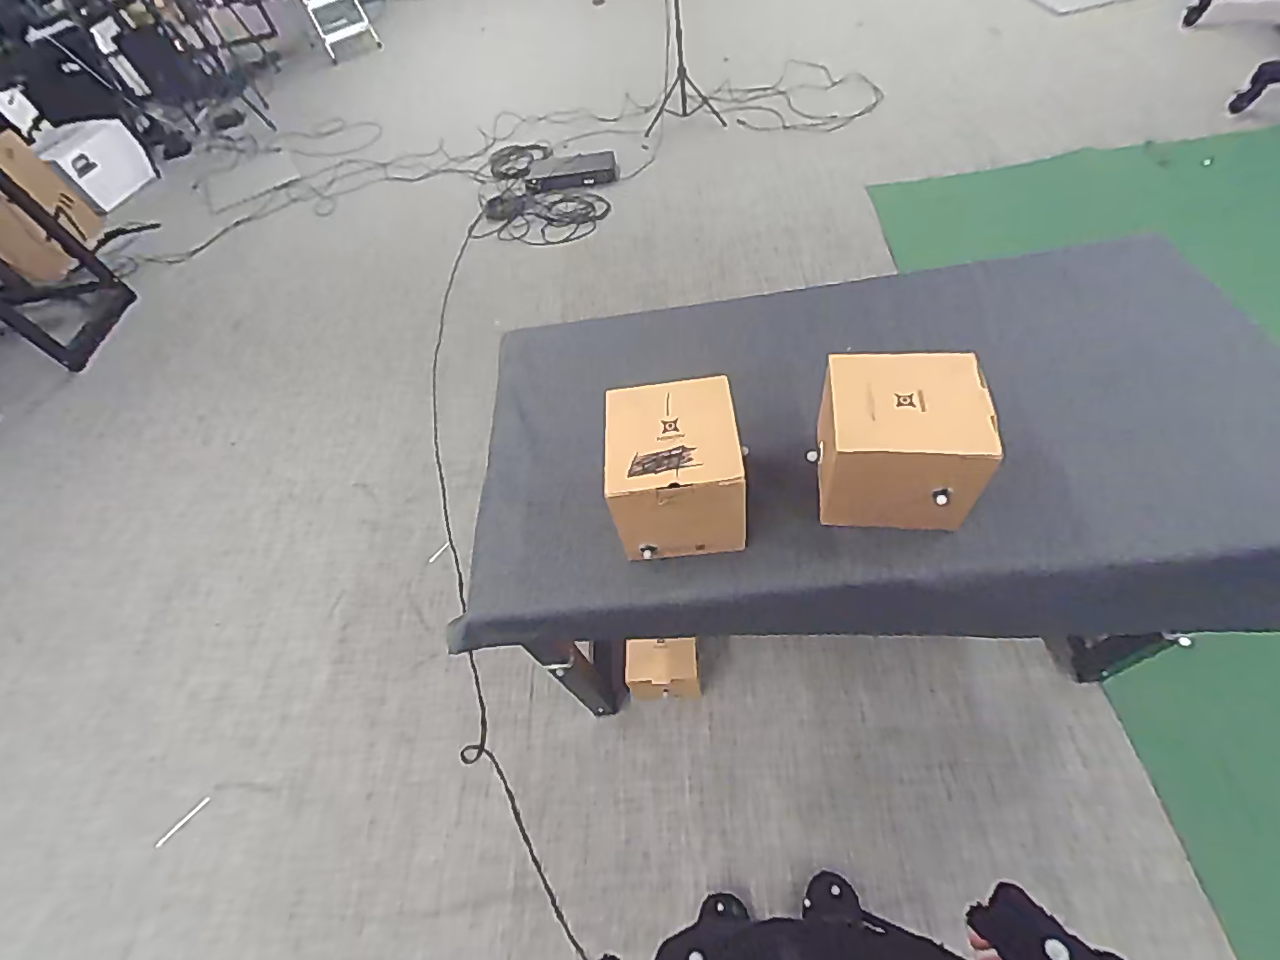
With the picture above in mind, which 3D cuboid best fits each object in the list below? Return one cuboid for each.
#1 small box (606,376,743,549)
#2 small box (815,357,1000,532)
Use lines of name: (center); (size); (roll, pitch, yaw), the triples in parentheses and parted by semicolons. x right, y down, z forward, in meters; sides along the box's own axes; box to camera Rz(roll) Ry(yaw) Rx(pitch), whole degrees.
small box: (0.051, -0.015, 0.742); (0.168, 0.176, 0.179); (-5, 53, 6)
small box: (0.335, -0.043, 0.717); (0.179, 0.176, 0.168); (2, 55, 12)
